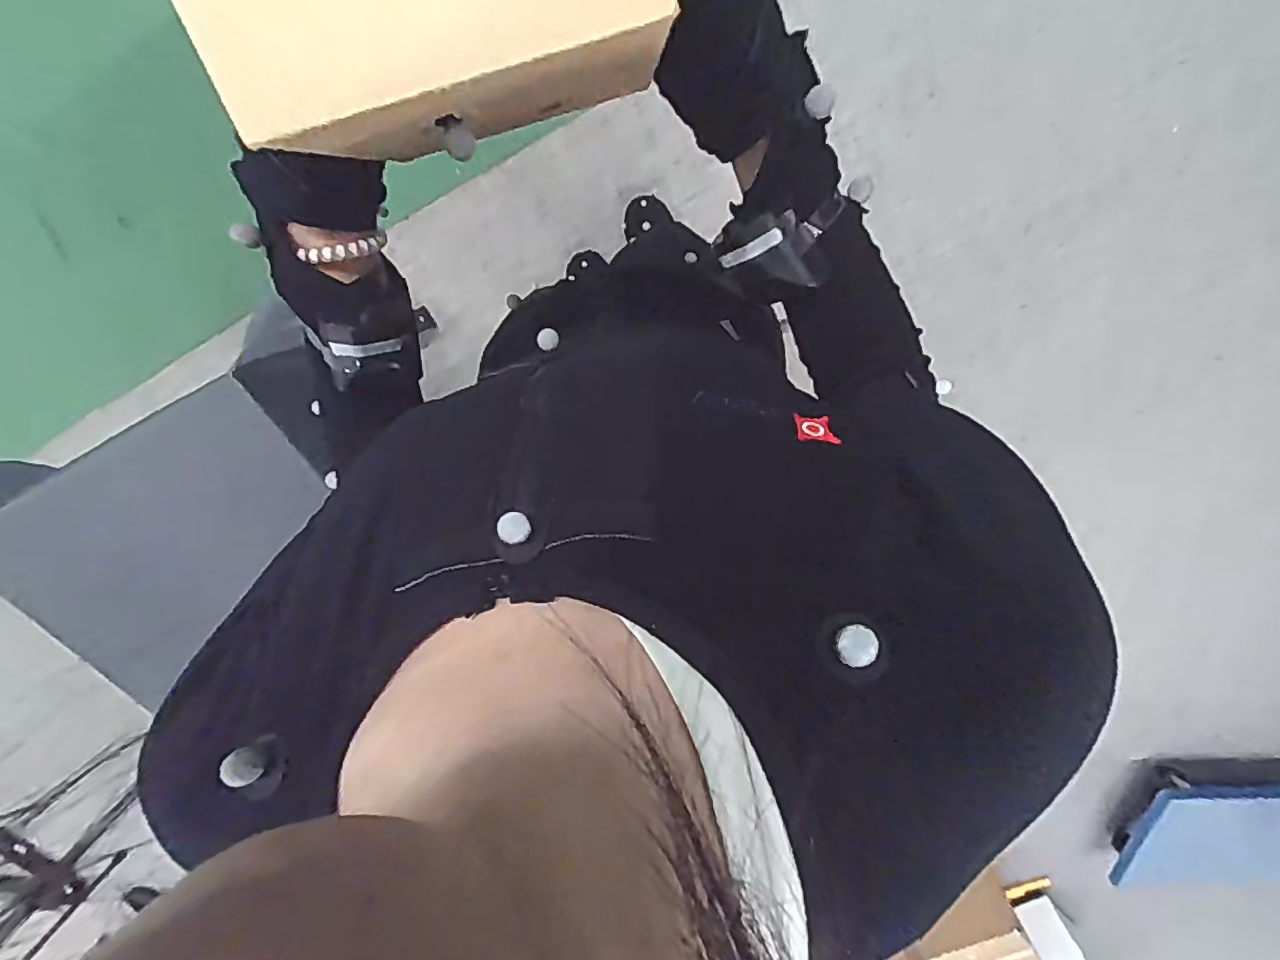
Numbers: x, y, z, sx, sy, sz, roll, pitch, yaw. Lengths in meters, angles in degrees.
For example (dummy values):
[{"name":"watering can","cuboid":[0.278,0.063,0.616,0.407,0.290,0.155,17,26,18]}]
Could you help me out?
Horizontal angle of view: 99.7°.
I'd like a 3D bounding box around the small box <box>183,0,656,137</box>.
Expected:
[{"name":"small box","cuboid":[-0.088,-0.261,0.222,0.168,0.176,0.179,-14,117,5]}]
